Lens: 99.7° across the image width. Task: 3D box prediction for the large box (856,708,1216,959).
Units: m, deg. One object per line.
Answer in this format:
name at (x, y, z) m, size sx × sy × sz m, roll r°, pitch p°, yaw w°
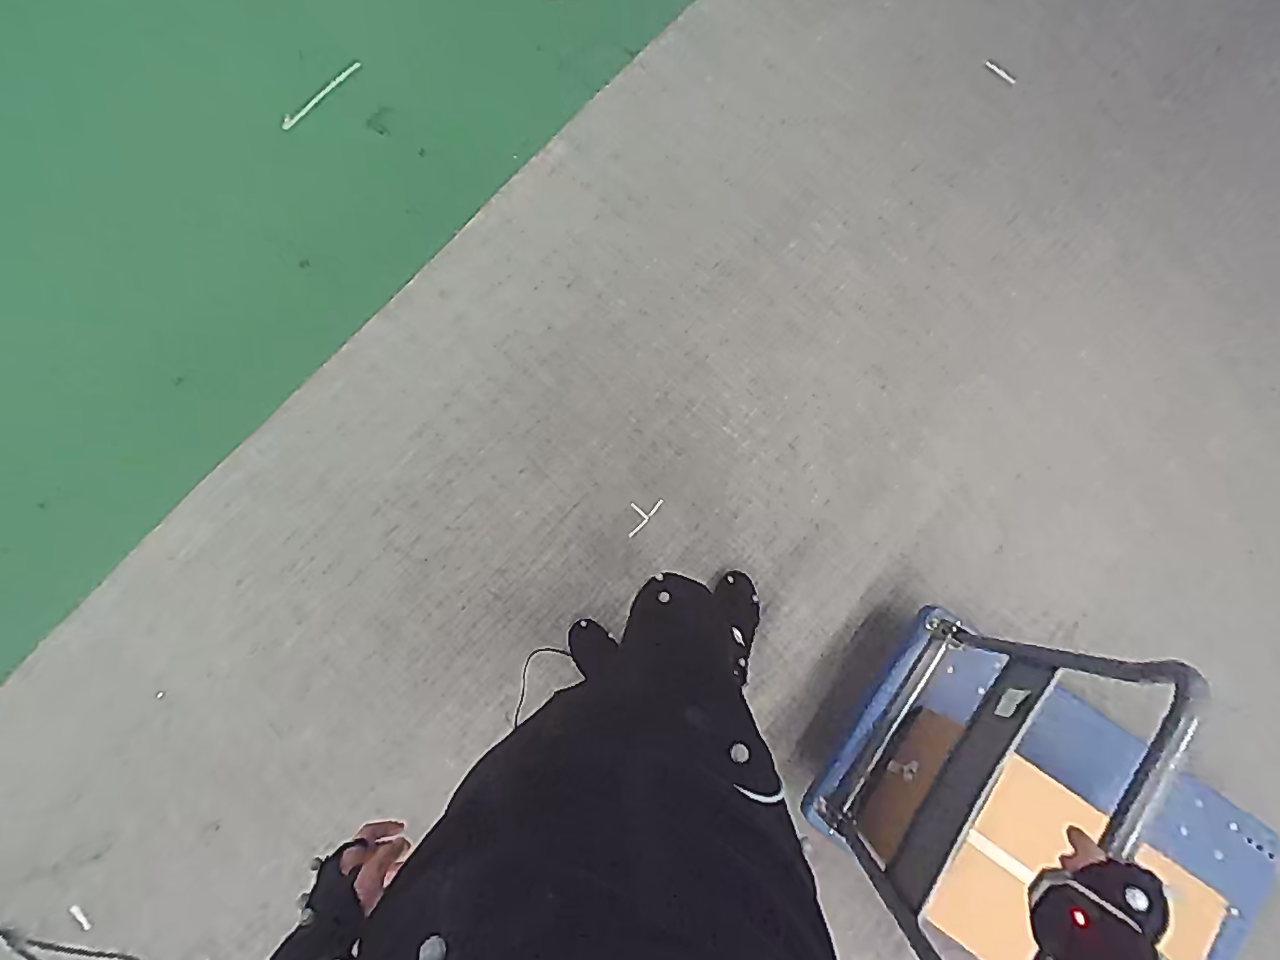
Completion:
large box at (0.717, 0.719, 1.050) m, size 0.408 × 0.320 × 0.320 m, roll 34°, pitch 83°, yaw 6°
